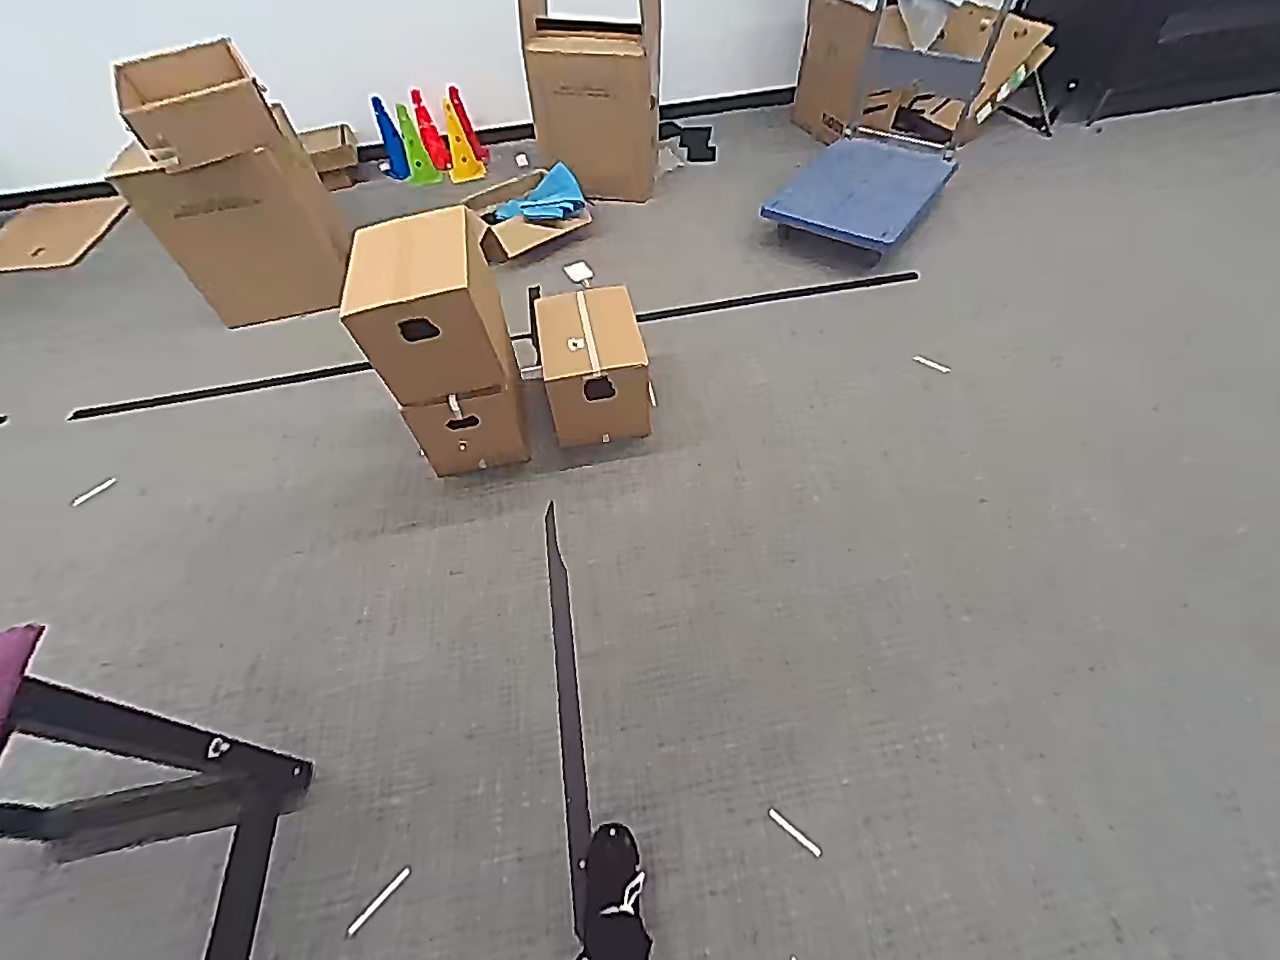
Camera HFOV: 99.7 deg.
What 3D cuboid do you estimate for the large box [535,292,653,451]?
[{"bbox_3d":[-0.150,-0.362,1.803,0.320,0.320,0.408,-11,54,-4],"label":"large box"}]
